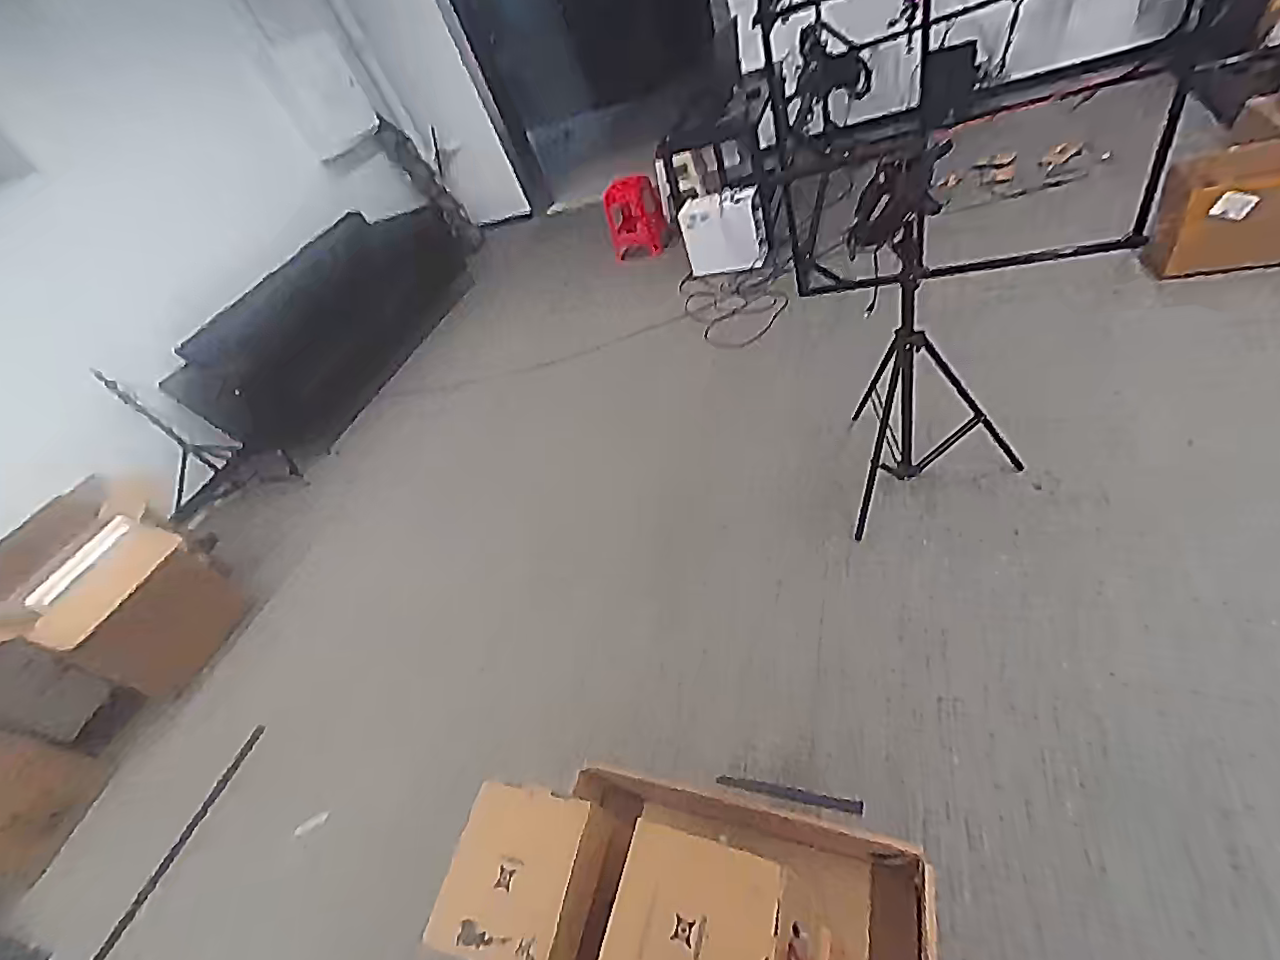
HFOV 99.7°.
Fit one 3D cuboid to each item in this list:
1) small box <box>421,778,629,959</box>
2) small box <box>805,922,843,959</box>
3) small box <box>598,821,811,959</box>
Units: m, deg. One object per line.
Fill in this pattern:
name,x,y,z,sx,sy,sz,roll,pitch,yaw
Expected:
small box,-0.127,0.511,0.681,0.168,0.176,0.179,-3,45,26
small box,0.195,0.741,0.787,0.168,0.176,0.179,-1,47,31
small box,0.078,0.508,0.590,0.179,0.176,0.168,-2,46,31
